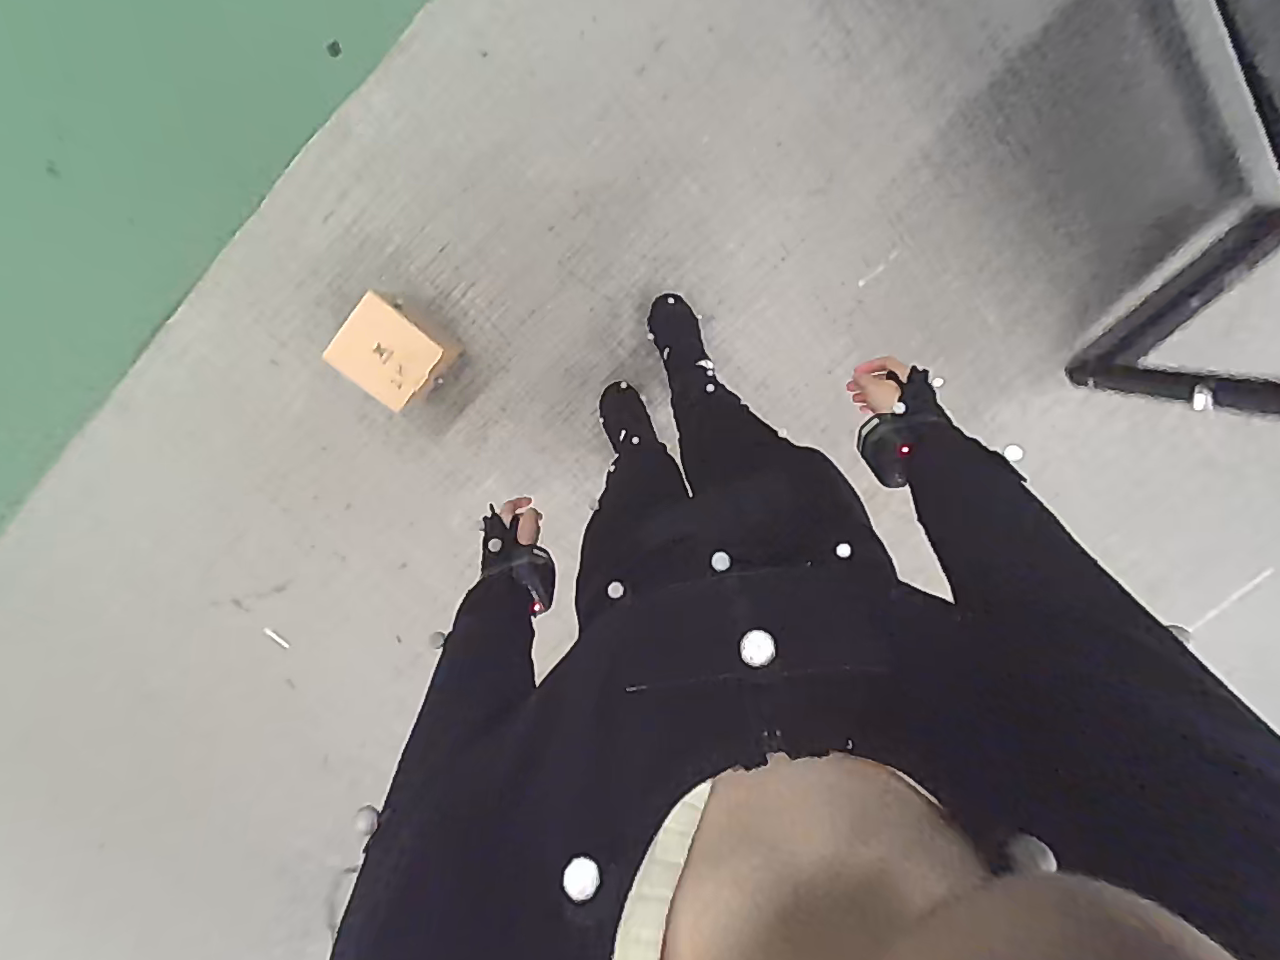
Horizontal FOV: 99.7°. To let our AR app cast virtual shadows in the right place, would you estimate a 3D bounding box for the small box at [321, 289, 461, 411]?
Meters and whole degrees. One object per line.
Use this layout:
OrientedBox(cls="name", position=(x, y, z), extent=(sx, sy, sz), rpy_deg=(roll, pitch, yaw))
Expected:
OrientedBox(cls="small box", position=(-0.506, -0.270, 1.122), extent=(0.179, 0.176, 0.168), rpy_deg=(39, 101, -15))
